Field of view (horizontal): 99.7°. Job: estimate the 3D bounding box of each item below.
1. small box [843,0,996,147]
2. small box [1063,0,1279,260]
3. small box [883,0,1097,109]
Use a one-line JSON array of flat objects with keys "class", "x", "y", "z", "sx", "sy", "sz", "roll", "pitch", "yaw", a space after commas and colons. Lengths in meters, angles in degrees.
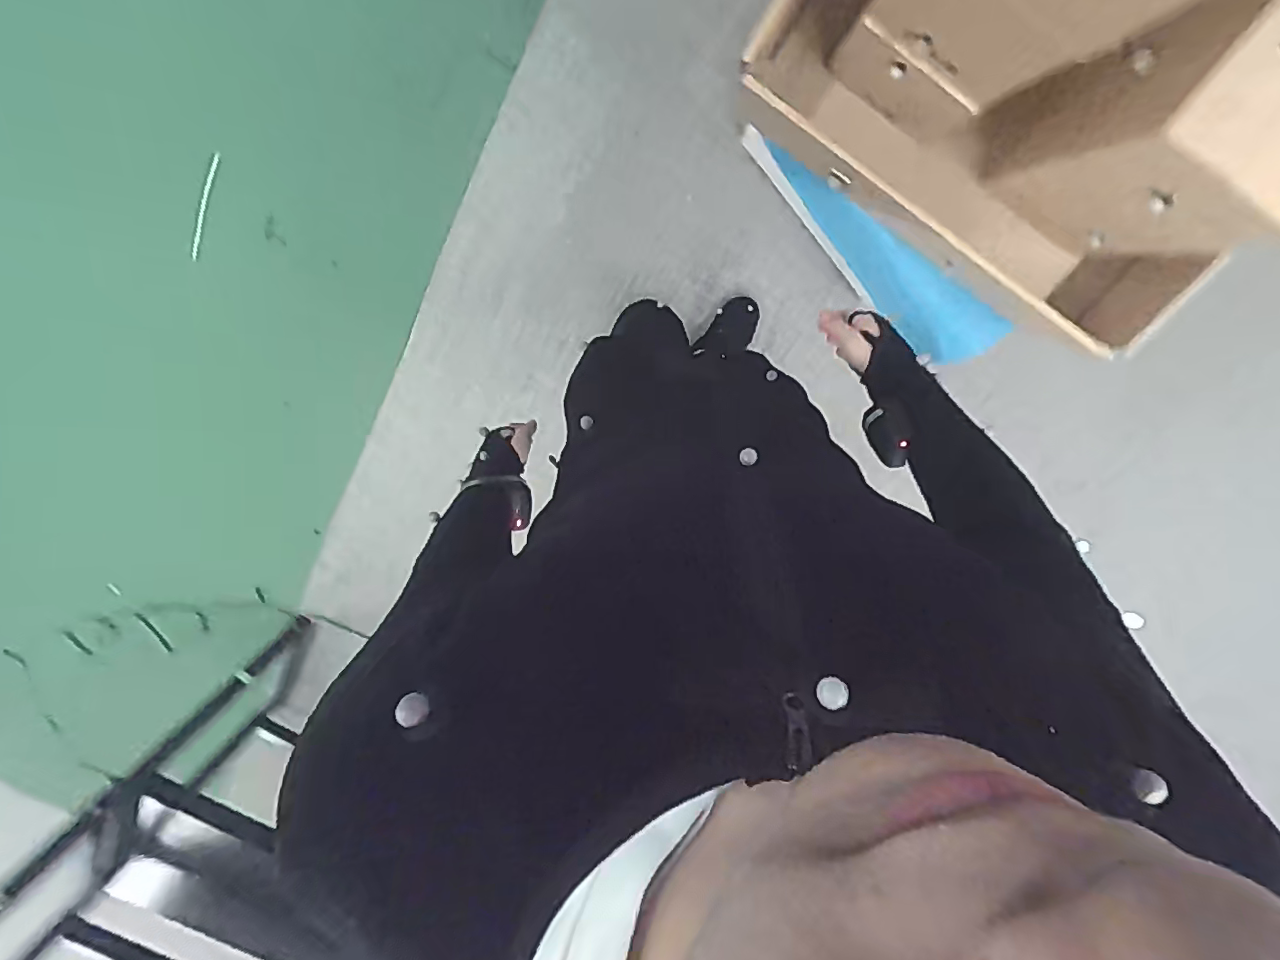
[{"class": "small box", "x": 0.368, "y": -0.533, "z": 0.631, "sx": 0.168, "sy": 0.176, "sz": 0.179, "roll": 33, "pitch": 111, "yaw": -7}, {"class": "small box", "x": 0.570, "y": -0.330, "z": 0.508, "sx": 0.179, "sy": 0.176, "sz": 0.168, "roll": 33, "pitch": 111, "yaw": -5}, {"class": "small box", "x": 0.352, "y": -0.479, "z": 0.478, "sx": 0.168, "sy": 0.176, "sz": 0.179, "roll": 33, "pitch": 111, "yaw": -7}]
